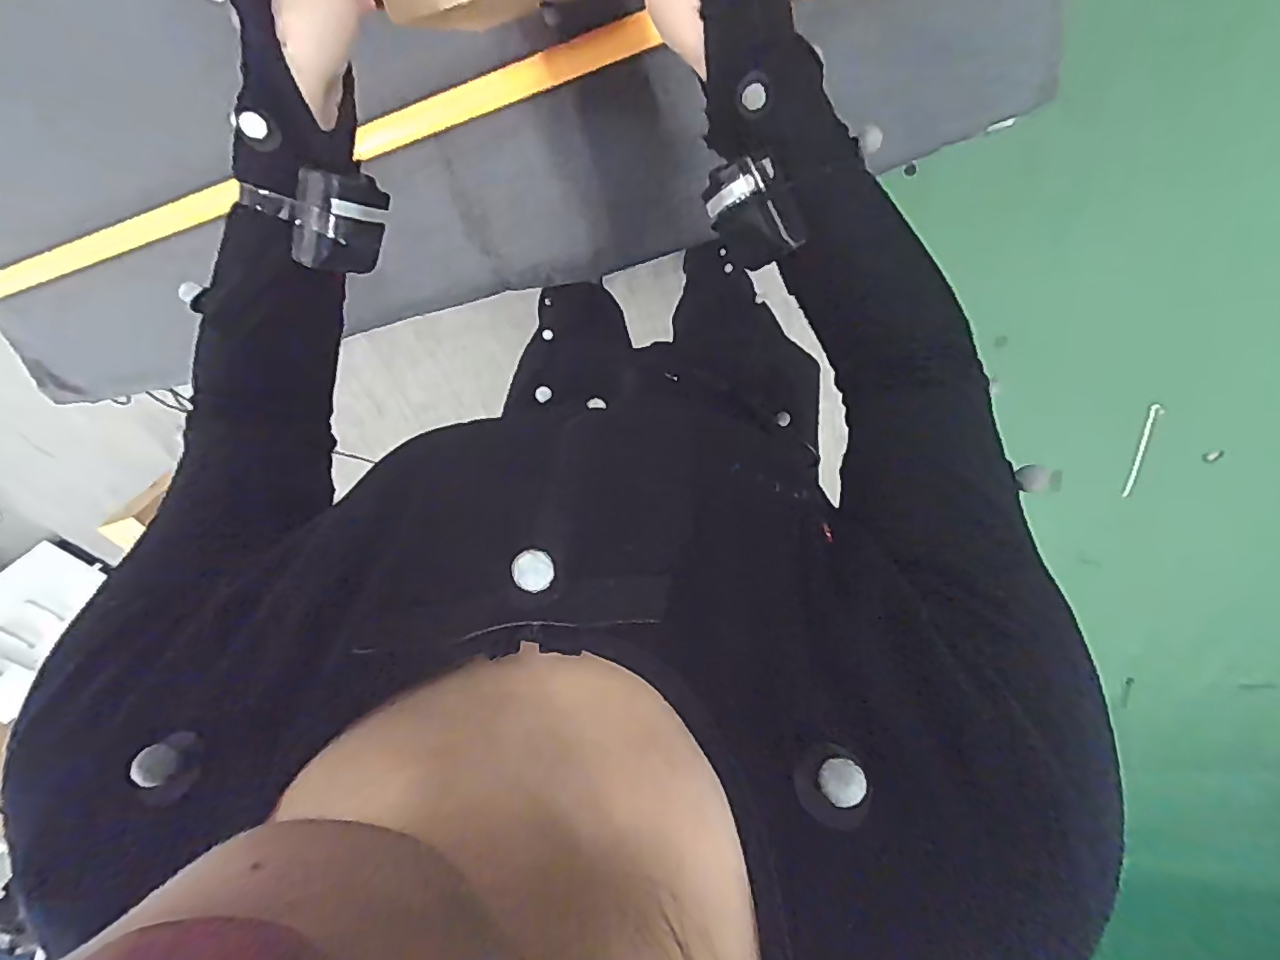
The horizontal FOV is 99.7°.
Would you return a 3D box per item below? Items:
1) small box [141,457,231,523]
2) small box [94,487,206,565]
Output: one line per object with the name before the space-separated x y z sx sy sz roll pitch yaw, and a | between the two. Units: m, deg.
small box | -1.530 0.043 1.847 0.179 0.176 0.168 -12 127 17
small box | -1.540 0.142 1.716 0.179 0.176 0.168 -13 126 18
